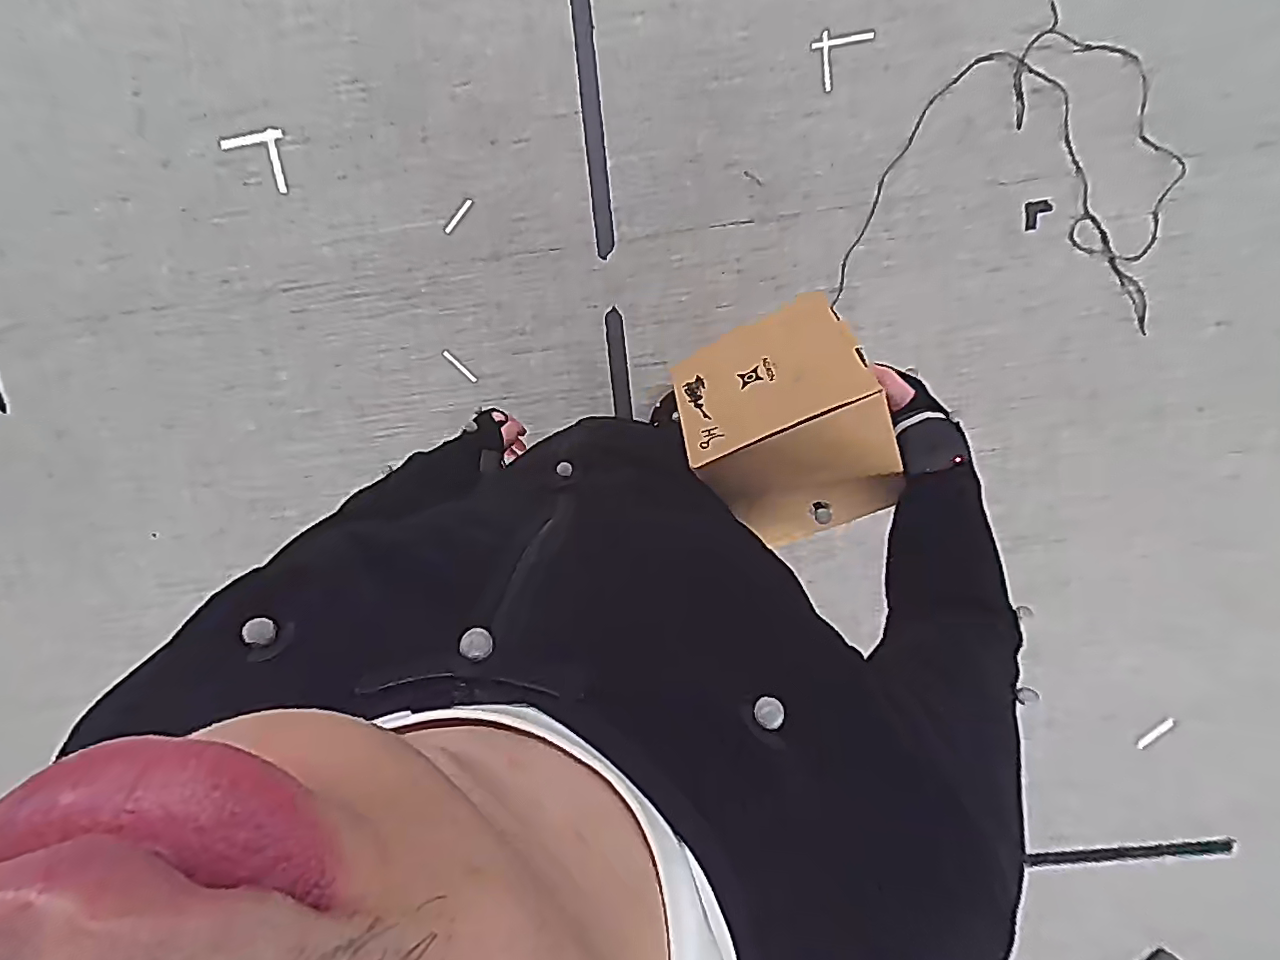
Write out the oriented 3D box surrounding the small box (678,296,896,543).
[{"bbox_3d":[0.162,-0.059,0.593,0.179,0.168,0.176,-23,134,17],"label":"small box"}]
